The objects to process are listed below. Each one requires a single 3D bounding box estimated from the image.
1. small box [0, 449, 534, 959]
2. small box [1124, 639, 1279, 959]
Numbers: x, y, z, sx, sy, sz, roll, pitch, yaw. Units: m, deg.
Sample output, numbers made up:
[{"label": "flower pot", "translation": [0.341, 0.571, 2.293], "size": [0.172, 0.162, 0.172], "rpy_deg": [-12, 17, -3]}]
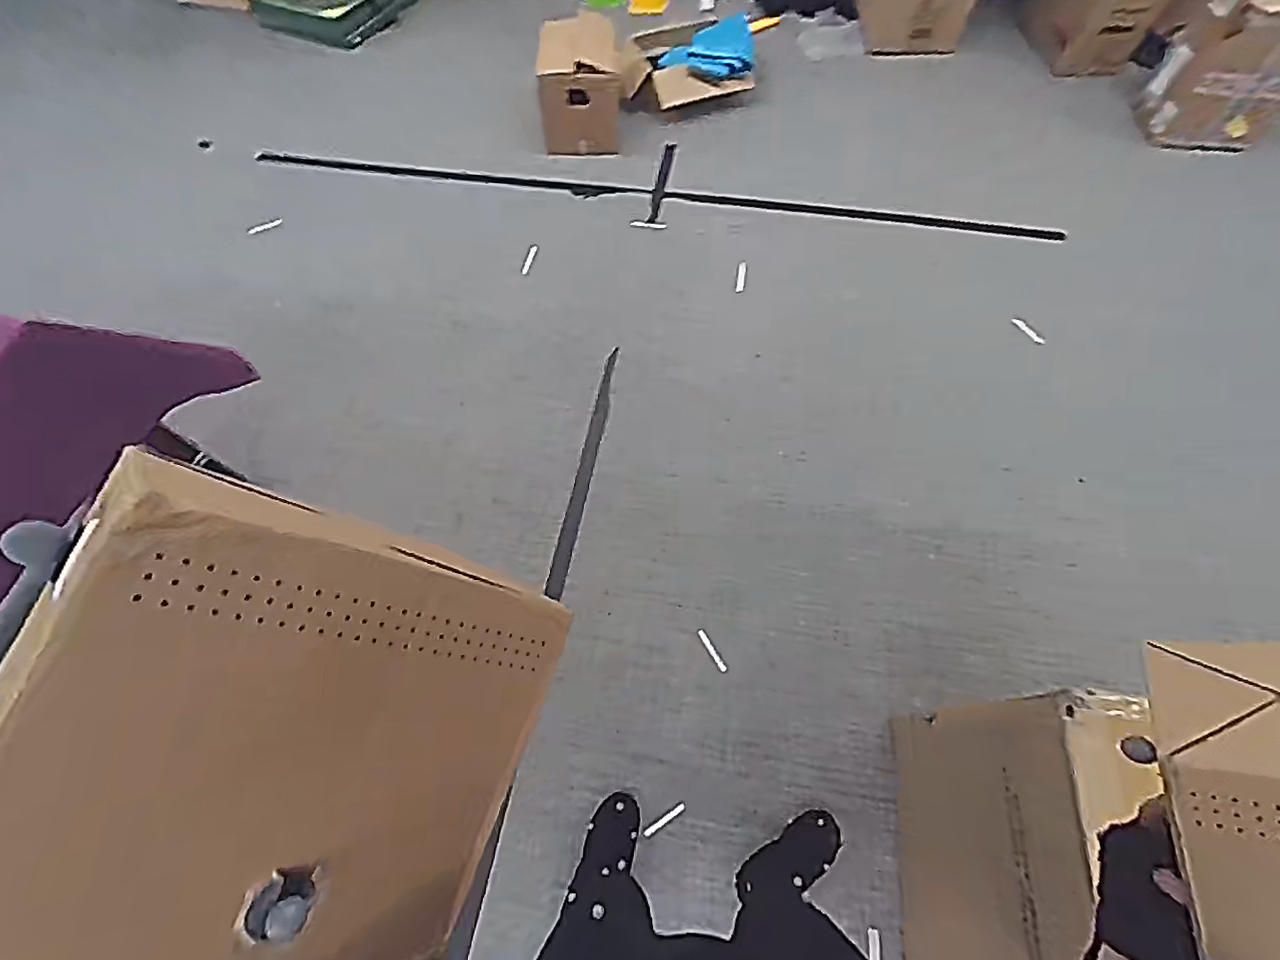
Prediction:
[{"label": "small box", "translation": [-0.180, 0.097, 0.255], "size": [0.168, 0.179, 0.176], "rpy_deg": [6, 72, 46]}, {"label": "small box", "translation": [0.356, 0.179, 0.255], "size": [0.179, 0.168, 0.176], "rpy_deg": [-9, 87, -49]}]
